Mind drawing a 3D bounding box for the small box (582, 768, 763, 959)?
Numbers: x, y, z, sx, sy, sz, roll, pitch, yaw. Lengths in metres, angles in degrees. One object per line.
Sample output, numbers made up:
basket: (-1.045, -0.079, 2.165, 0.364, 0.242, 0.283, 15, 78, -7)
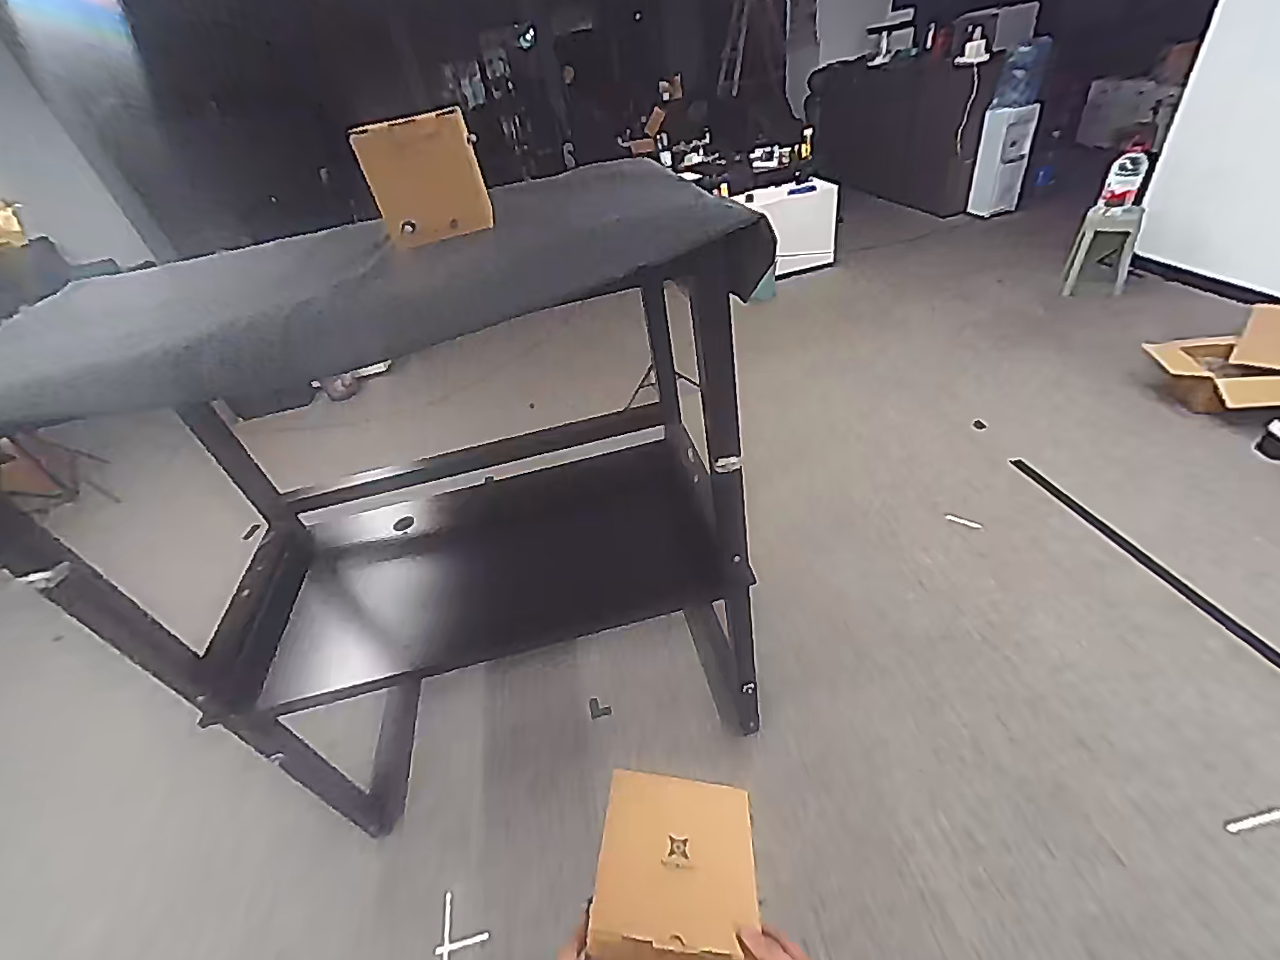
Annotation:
small box: (0.030, 0.467, 0.604, 0.168, 0.176, 0.179, 8, 23, 2)

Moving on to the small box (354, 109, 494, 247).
small box: (-0.354, -0.513, 0.924, 0.168, 0.176, 0.179, -15, 38, -5)
